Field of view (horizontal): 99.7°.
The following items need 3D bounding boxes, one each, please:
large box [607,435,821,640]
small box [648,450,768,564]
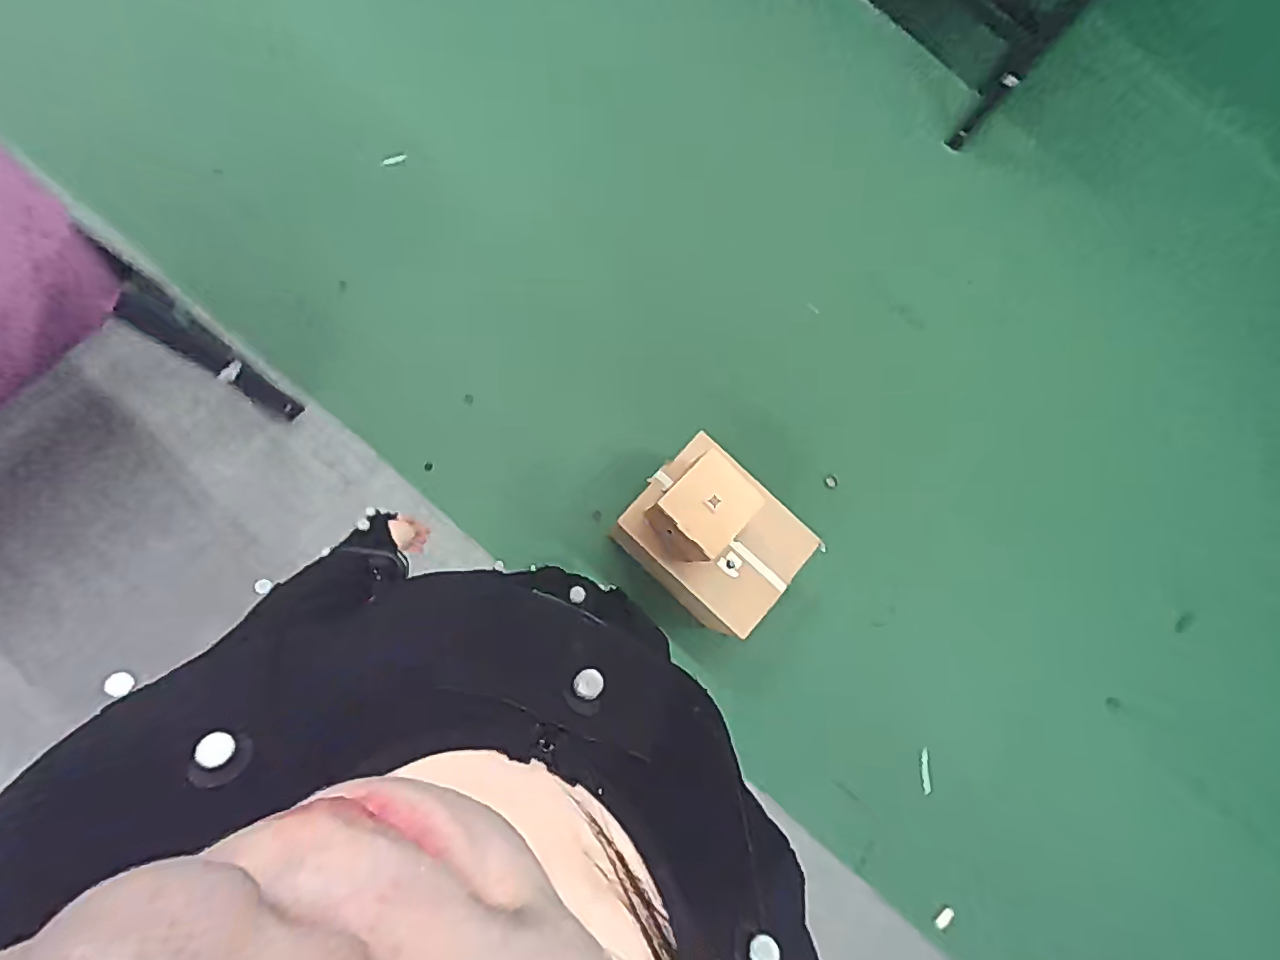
[{"bbox_3d":[0.170,0.153,1.413,0.408,0.320,0.320,43,78,0],"label":"large box"},{"bbox_3d":[0.137,0.064,1.174,0.168,0.176,0.179,45,78,1],"label":"small box"}]
